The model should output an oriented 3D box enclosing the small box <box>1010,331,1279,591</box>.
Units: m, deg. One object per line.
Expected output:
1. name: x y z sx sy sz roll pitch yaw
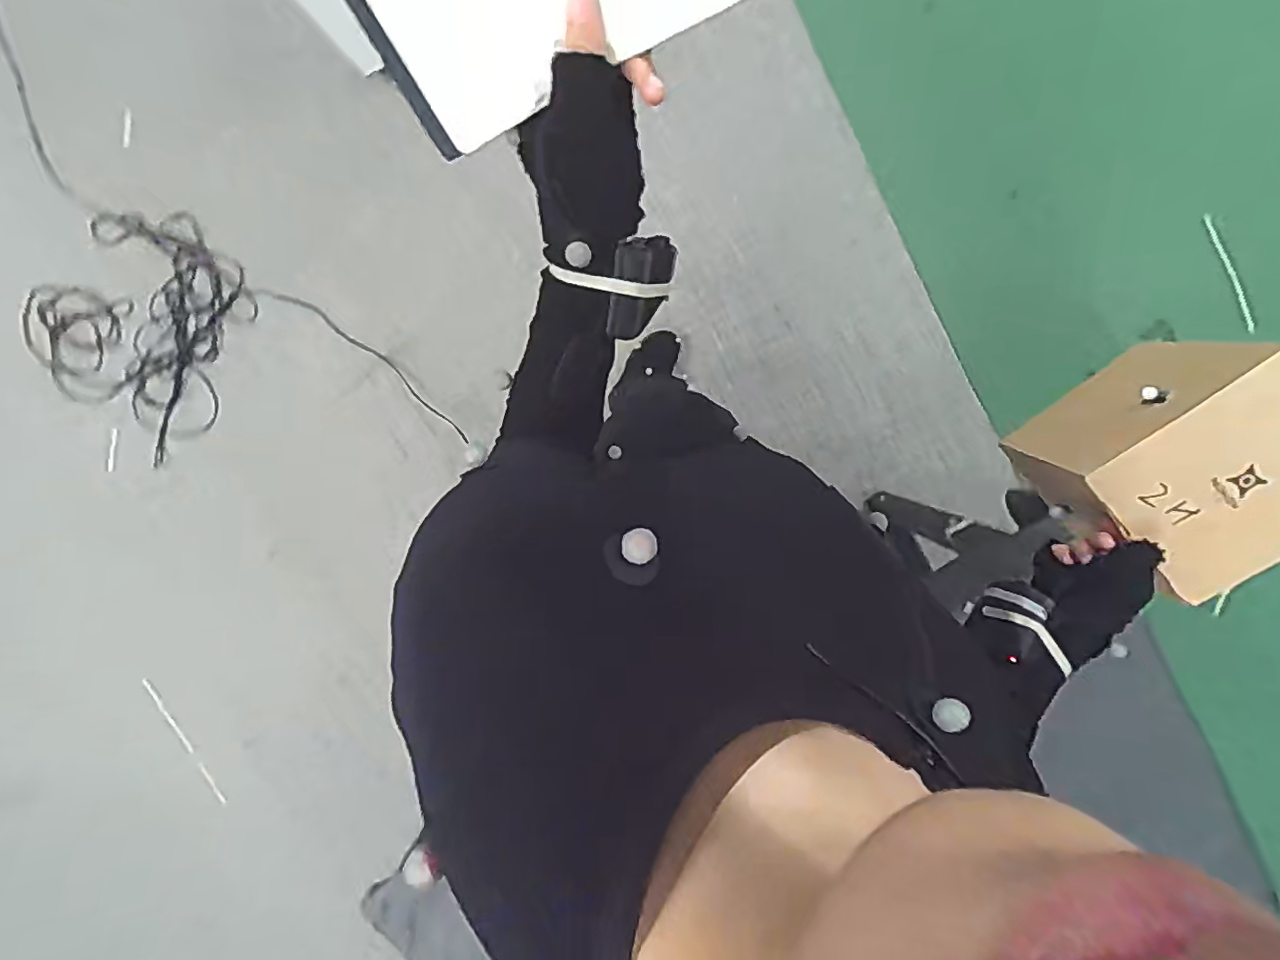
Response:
1. small box: 0.527 -0.031 0.538 0.179 0.176 0.168 -42 94 17
